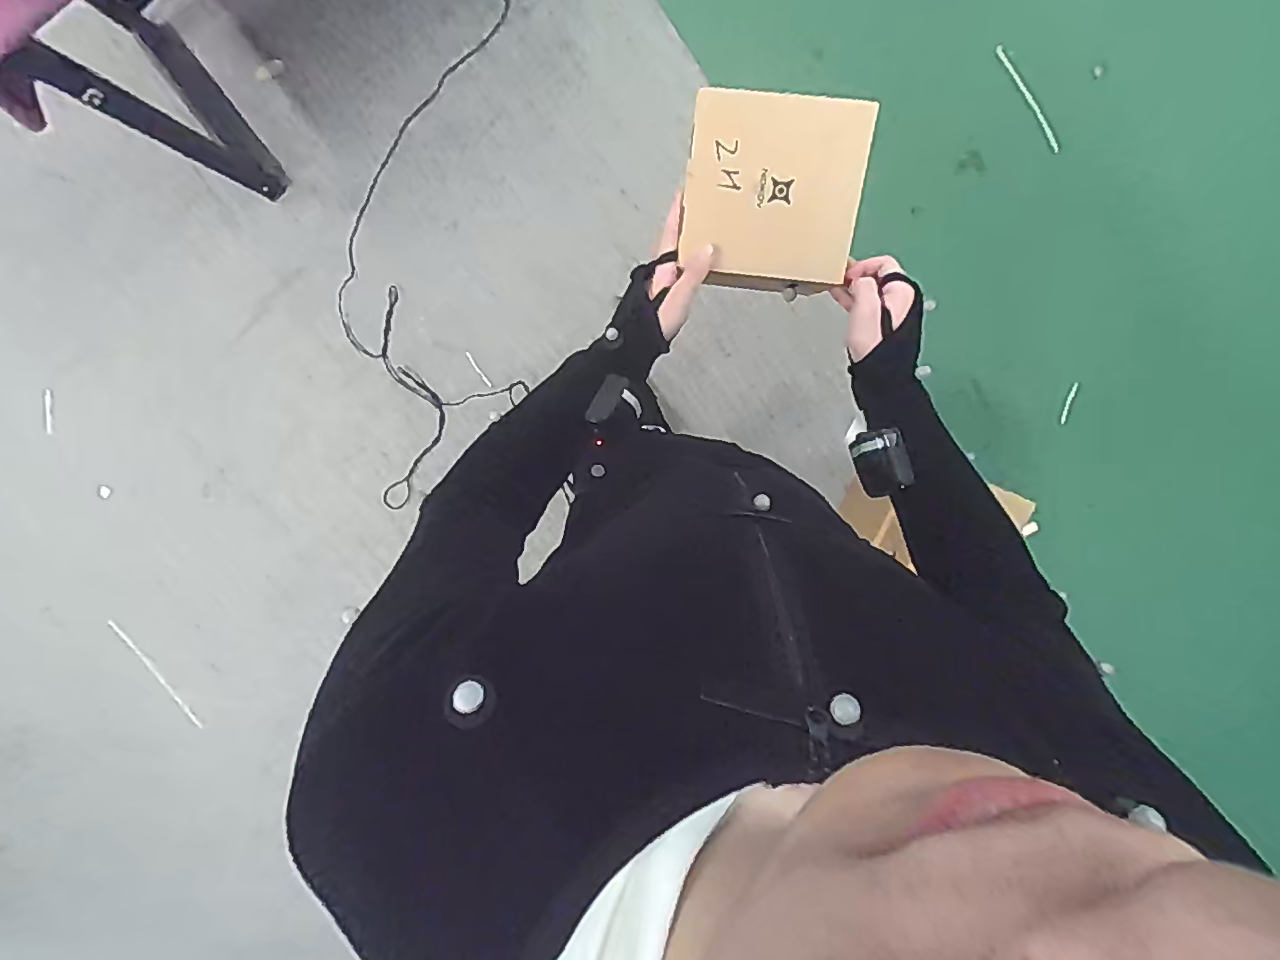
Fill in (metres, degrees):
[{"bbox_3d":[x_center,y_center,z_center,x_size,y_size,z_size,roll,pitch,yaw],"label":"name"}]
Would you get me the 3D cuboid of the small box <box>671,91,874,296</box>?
[{"bbox_3d":[0.133,-0.304,0.609,0.179,0.176,0.168,7,106,4],"label":"small box"}]
